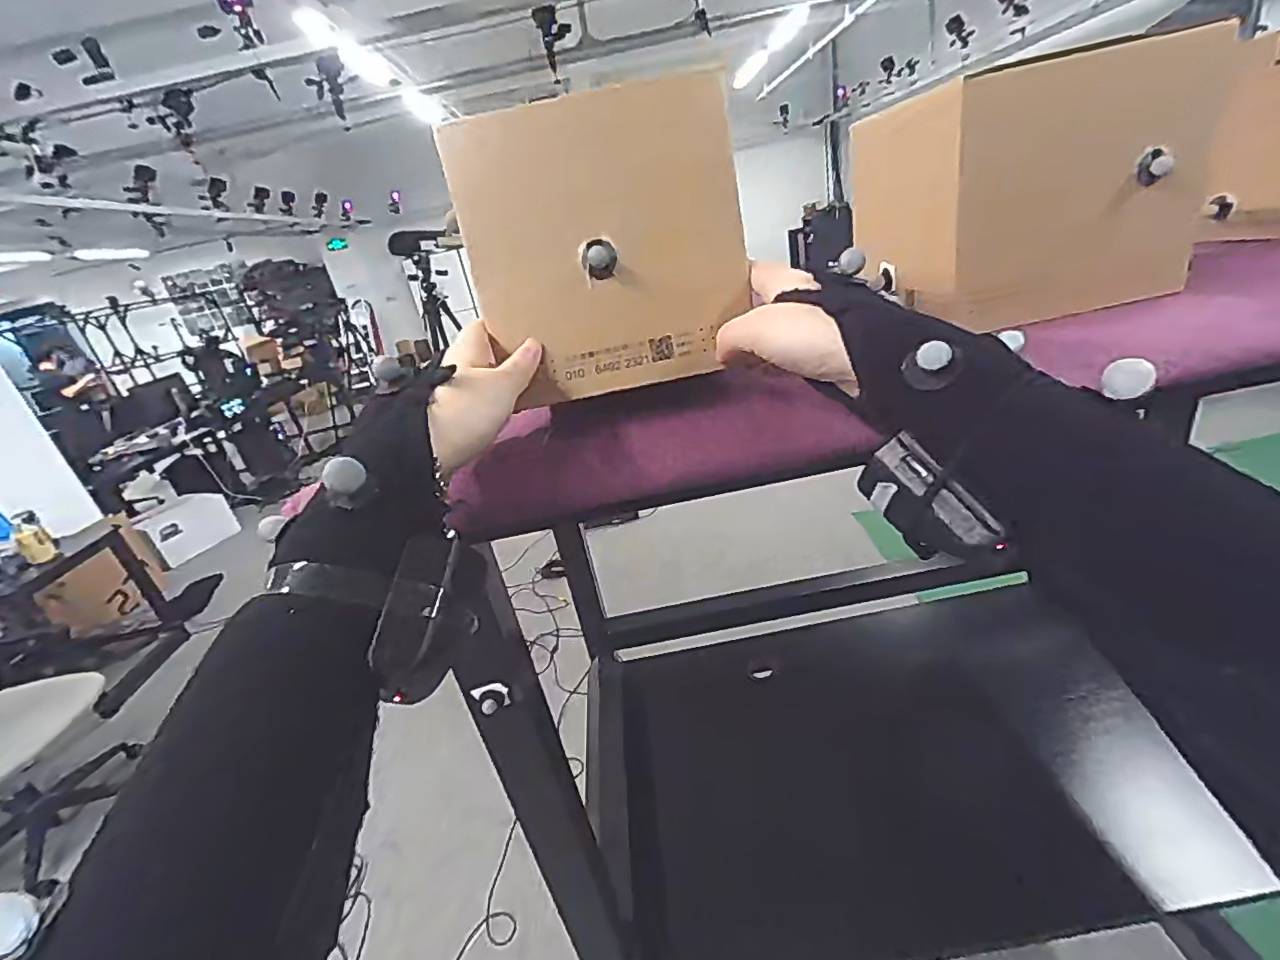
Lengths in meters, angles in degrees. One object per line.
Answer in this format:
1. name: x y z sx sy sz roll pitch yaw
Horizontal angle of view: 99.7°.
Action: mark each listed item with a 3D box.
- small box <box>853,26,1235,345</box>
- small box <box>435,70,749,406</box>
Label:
1. small box: 0.291 -0.221 0.437 0.179 0.176 0.168 -13 24 0
2. small box: -0.024 -0.157 0.402 0.168 0.176 0.179 -10 16 1
